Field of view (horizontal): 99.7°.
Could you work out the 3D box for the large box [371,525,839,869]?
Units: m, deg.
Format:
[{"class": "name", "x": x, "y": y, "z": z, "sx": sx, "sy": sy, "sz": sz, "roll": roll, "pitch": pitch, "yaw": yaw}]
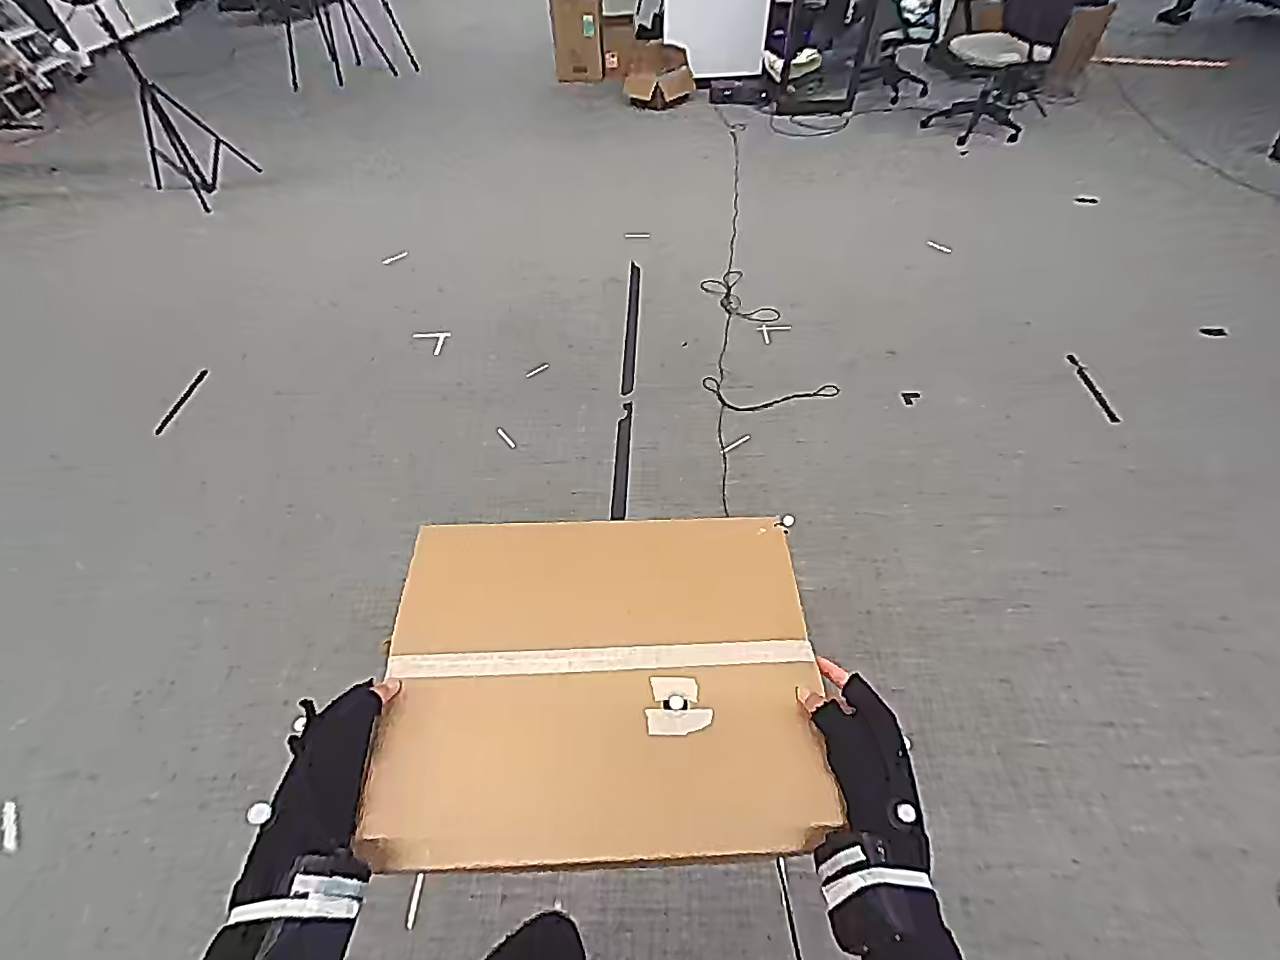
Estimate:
[{"class": "large box", "x": -0.038, "y": 0.269, "z": 0.657, "sx": 0.408, "sy": 0.320, "sz": 0.320, "roll": -1, "pitch": 54, "yaw": -3}]
